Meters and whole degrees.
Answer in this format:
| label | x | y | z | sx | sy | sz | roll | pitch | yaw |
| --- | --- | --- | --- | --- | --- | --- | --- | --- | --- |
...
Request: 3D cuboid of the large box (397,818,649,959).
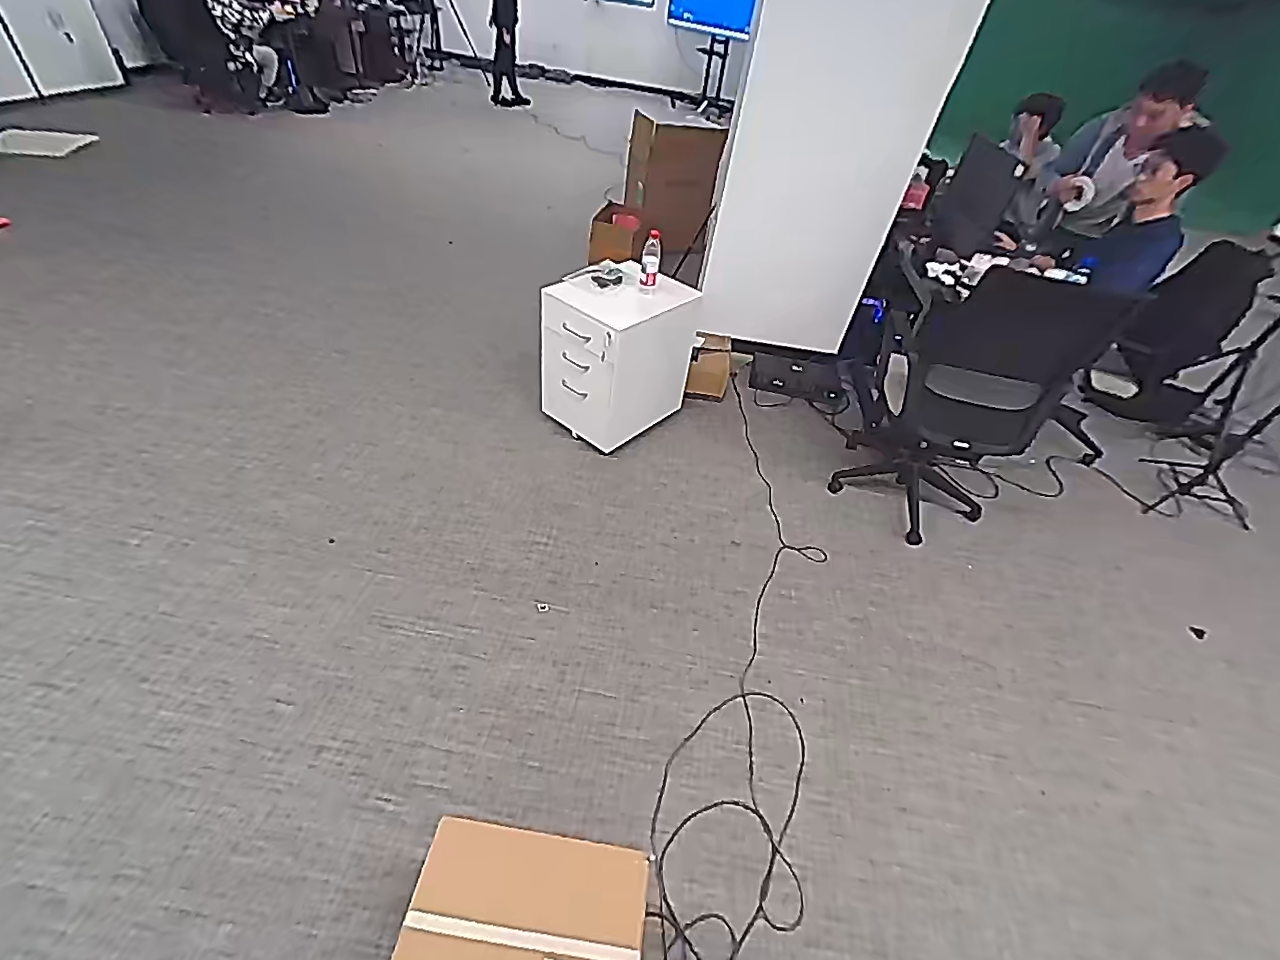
| label | x | y | z | sx | sy | sz | roll | pitch | yaw |
| --- | --- | --- | --- | --- | --- | --- | --- | --- | --- |
| large box | -0.213 | 0.886 | 1.017 | 0.408 | 0.320 | 0.320 | 10 | 42 | 1 |
